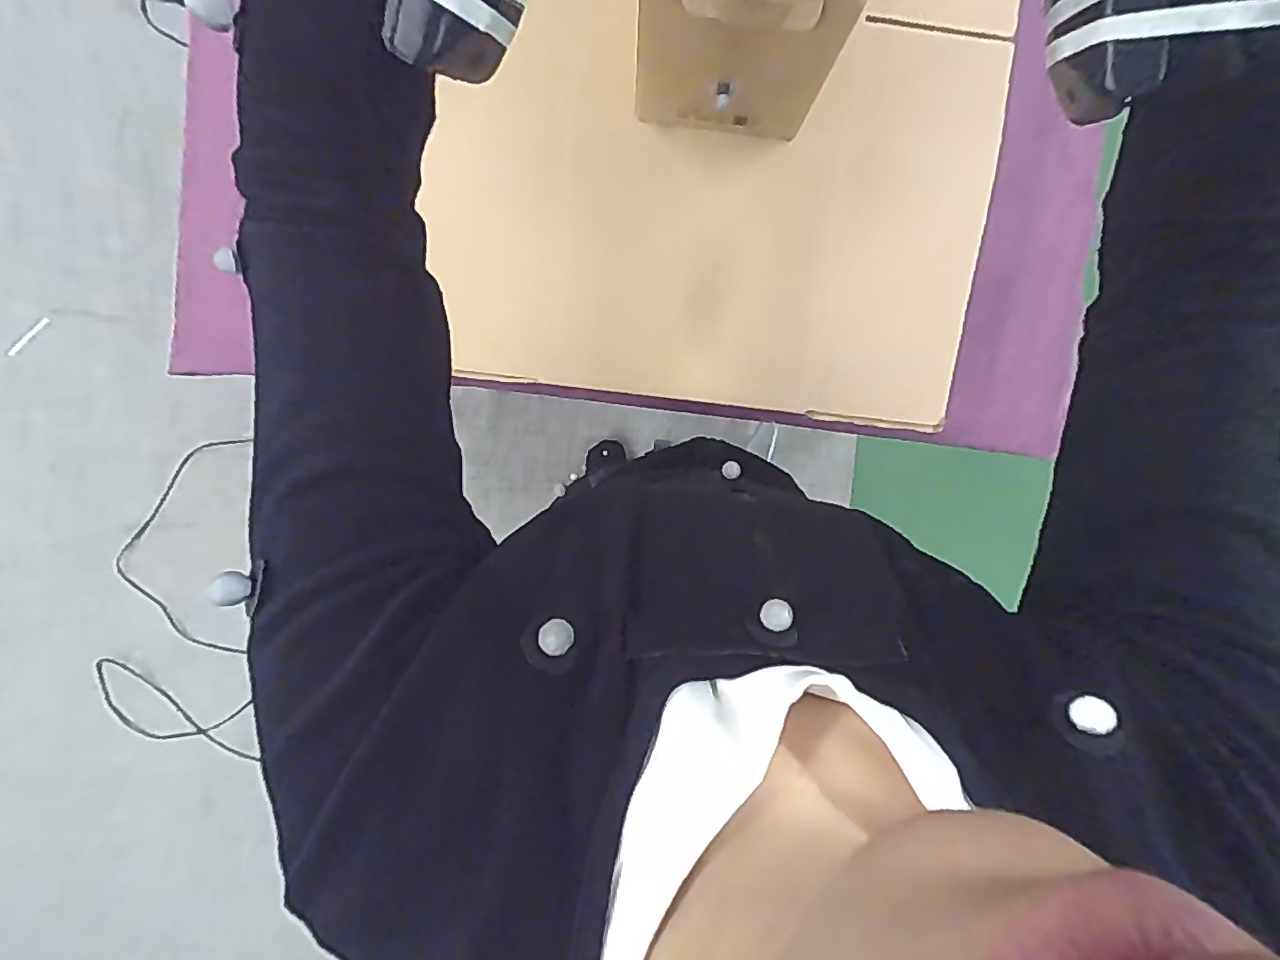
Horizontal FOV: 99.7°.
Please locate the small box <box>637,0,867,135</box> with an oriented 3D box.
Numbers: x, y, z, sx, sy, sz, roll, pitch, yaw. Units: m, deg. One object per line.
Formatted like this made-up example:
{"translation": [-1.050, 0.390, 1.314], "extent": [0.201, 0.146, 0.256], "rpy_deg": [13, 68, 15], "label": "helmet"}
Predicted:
{"translation": [0.089, -0.439, 0.459], "extent": [0.168, 0.176, 0.179], "rpy_deg": [7, 93, -3], "label": "small box"}
